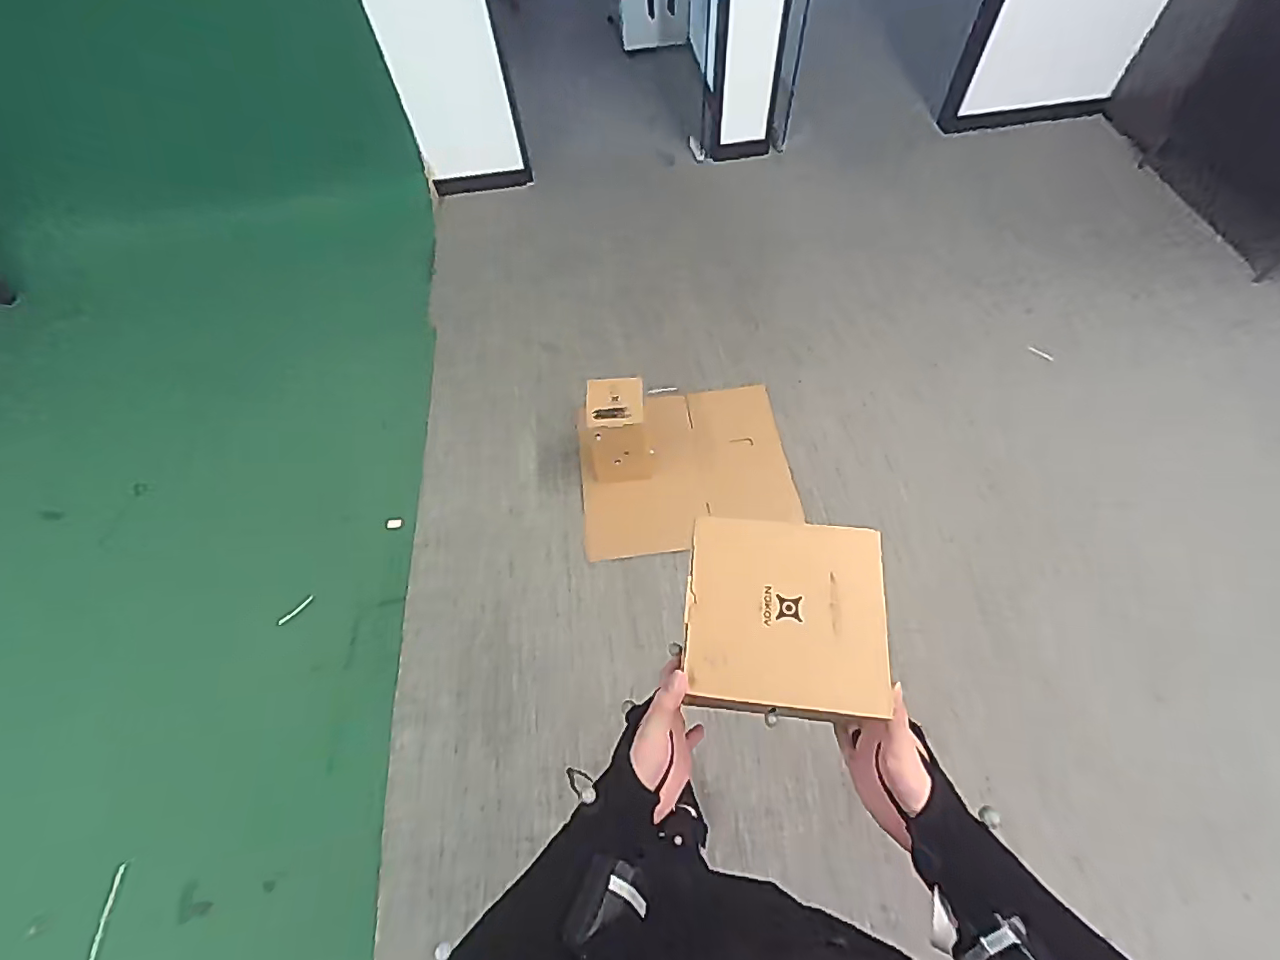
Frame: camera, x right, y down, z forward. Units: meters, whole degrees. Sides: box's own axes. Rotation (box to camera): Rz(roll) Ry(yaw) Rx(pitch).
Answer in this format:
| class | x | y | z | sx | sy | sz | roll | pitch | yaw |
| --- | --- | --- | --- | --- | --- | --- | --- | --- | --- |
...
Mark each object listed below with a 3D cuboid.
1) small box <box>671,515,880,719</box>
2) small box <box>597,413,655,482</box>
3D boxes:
| class | x | y | z | sx | sy | sz | roll | pitch | yaw |
| --- | --- | --- | --- | --- | --- | --- | --- | --- | --- |
| small box | 0.130 | 0.148 | 0.559 | 0.179 | 0.176 | 0.168 | 4 | 66 | 7 |
| small box | -0.043 | -0.103 | 1.784 | 0.179 | 0.176 | 0.168 | -3 | 60 | 2 |
